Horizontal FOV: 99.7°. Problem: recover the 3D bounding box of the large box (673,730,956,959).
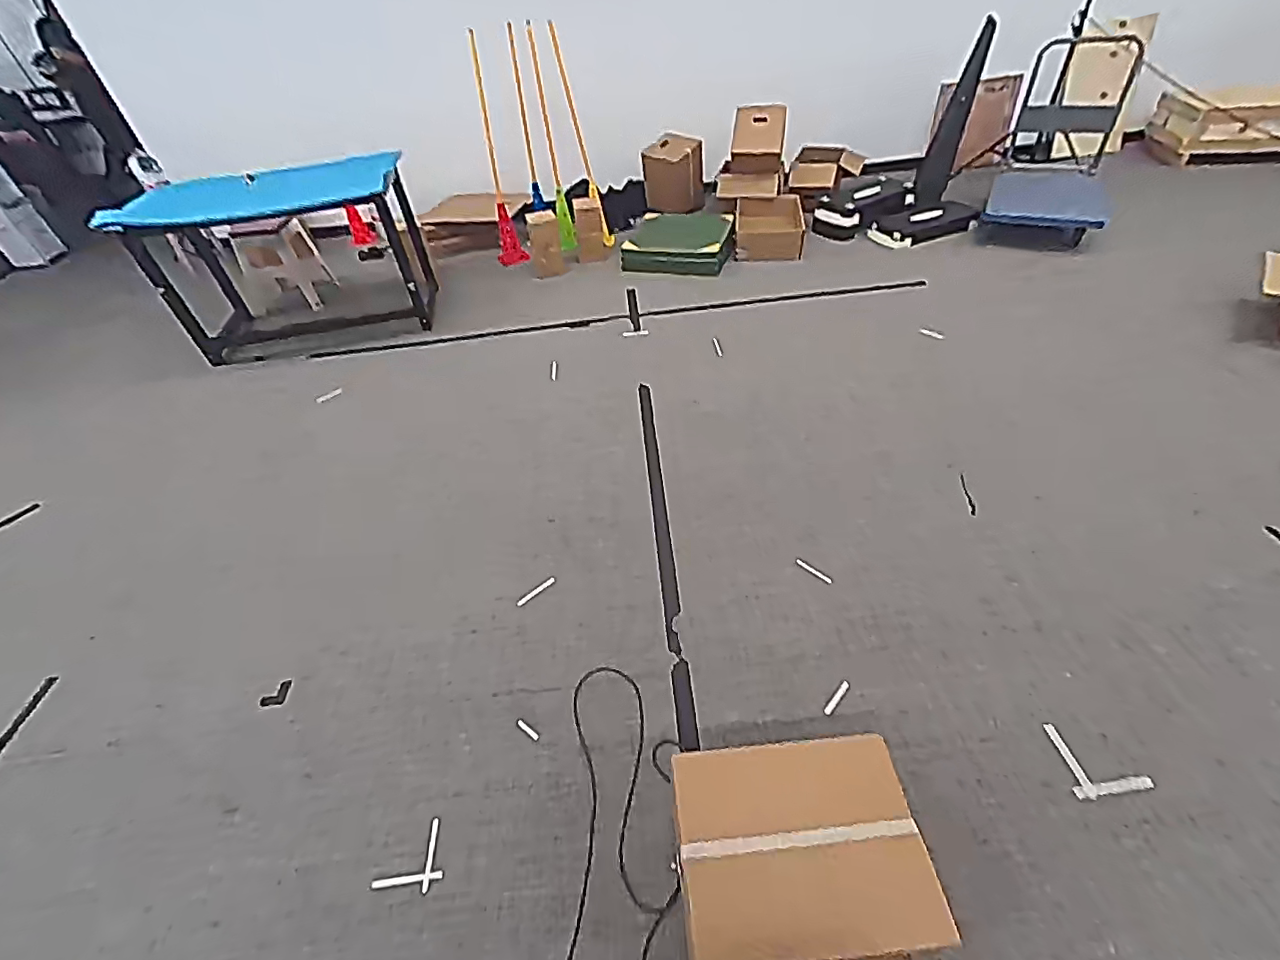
[{"bbox_3d":[0.284,0.712,1.027,0.408,0.320,0.320,-6,44,-1],"label":"large box"}]
